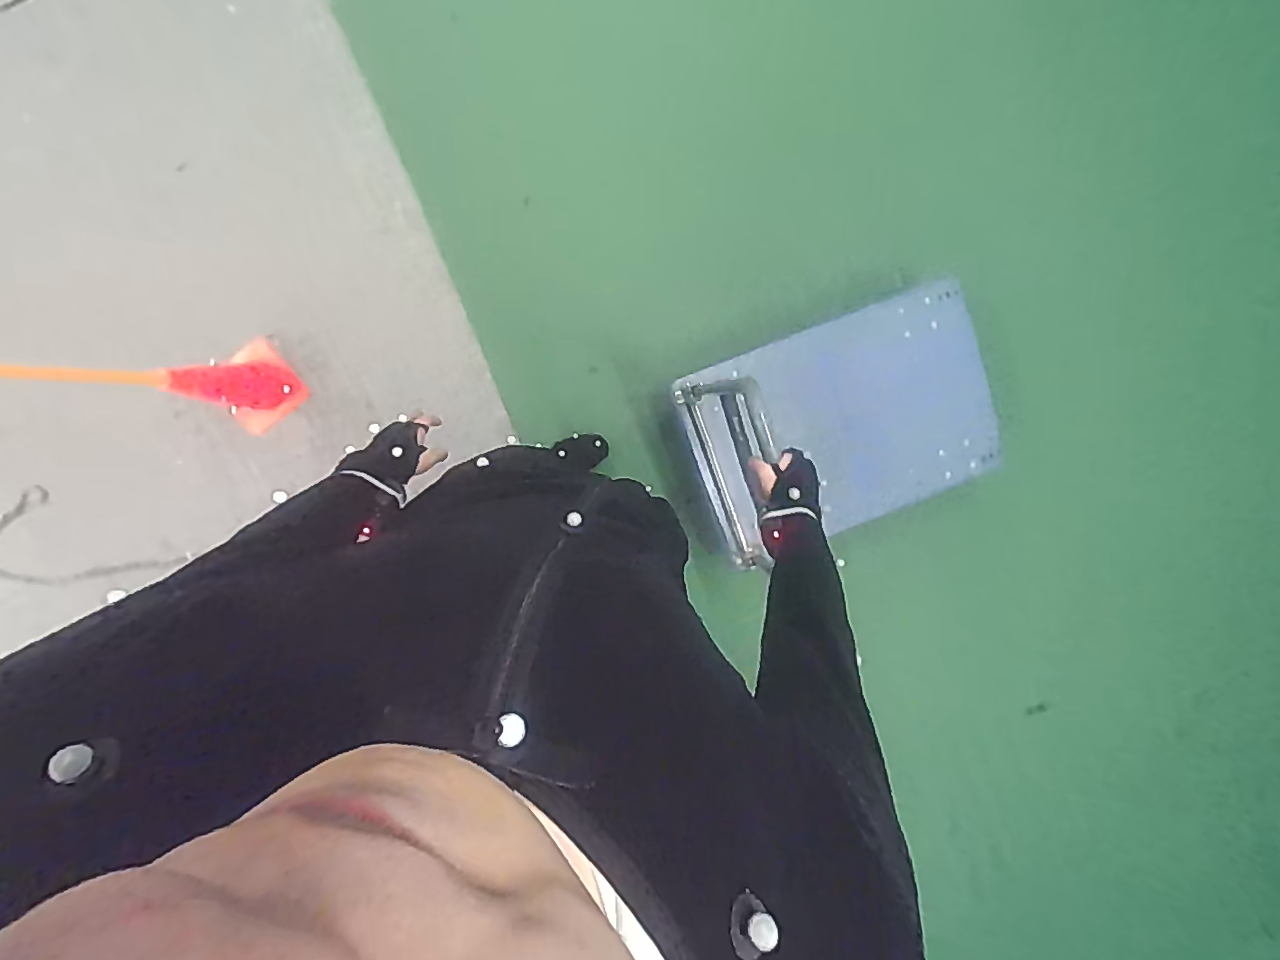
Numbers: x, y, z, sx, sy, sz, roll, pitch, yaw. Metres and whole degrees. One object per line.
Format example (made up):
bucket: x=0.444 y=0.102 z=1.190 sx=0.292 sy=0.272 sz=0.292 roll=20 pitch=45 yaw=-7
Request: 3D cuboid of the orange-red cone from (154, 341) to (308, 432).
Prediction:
orange-red cone: x=-1.036 y=-0.242 z=1.327 sx=0.198 sy=0.360 sz=0.199 roll=-36 pitch=98 yaw=-1
